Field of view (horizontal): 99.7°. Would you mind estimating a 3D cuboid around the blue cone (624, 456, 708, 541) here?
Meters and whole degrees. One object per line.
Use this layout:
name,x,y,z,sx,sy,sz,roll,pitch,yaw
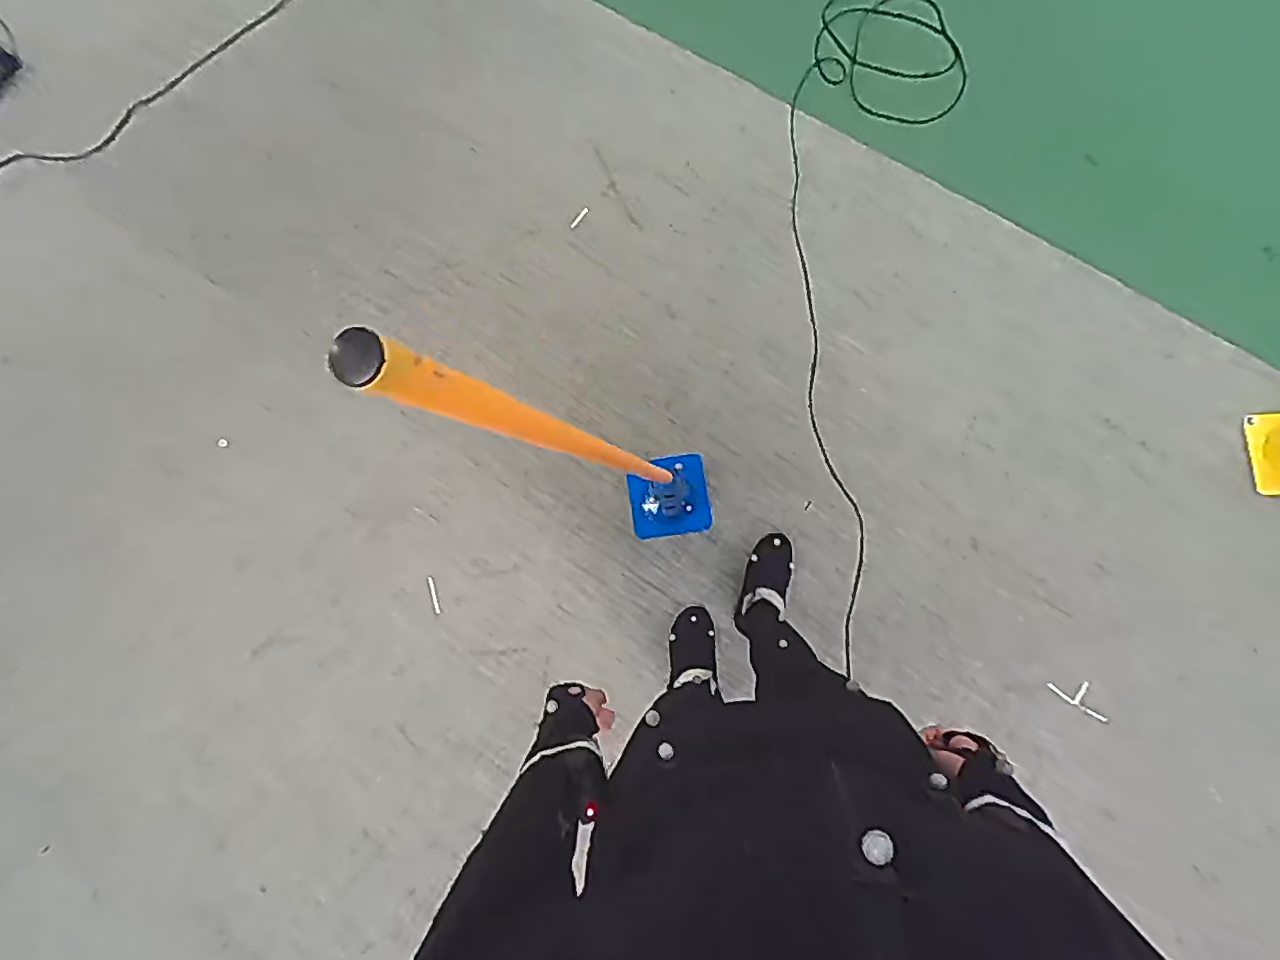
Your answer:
blue cone,0.054,0.029,1.182,0.193,0.380,0.192,-11,83,3
